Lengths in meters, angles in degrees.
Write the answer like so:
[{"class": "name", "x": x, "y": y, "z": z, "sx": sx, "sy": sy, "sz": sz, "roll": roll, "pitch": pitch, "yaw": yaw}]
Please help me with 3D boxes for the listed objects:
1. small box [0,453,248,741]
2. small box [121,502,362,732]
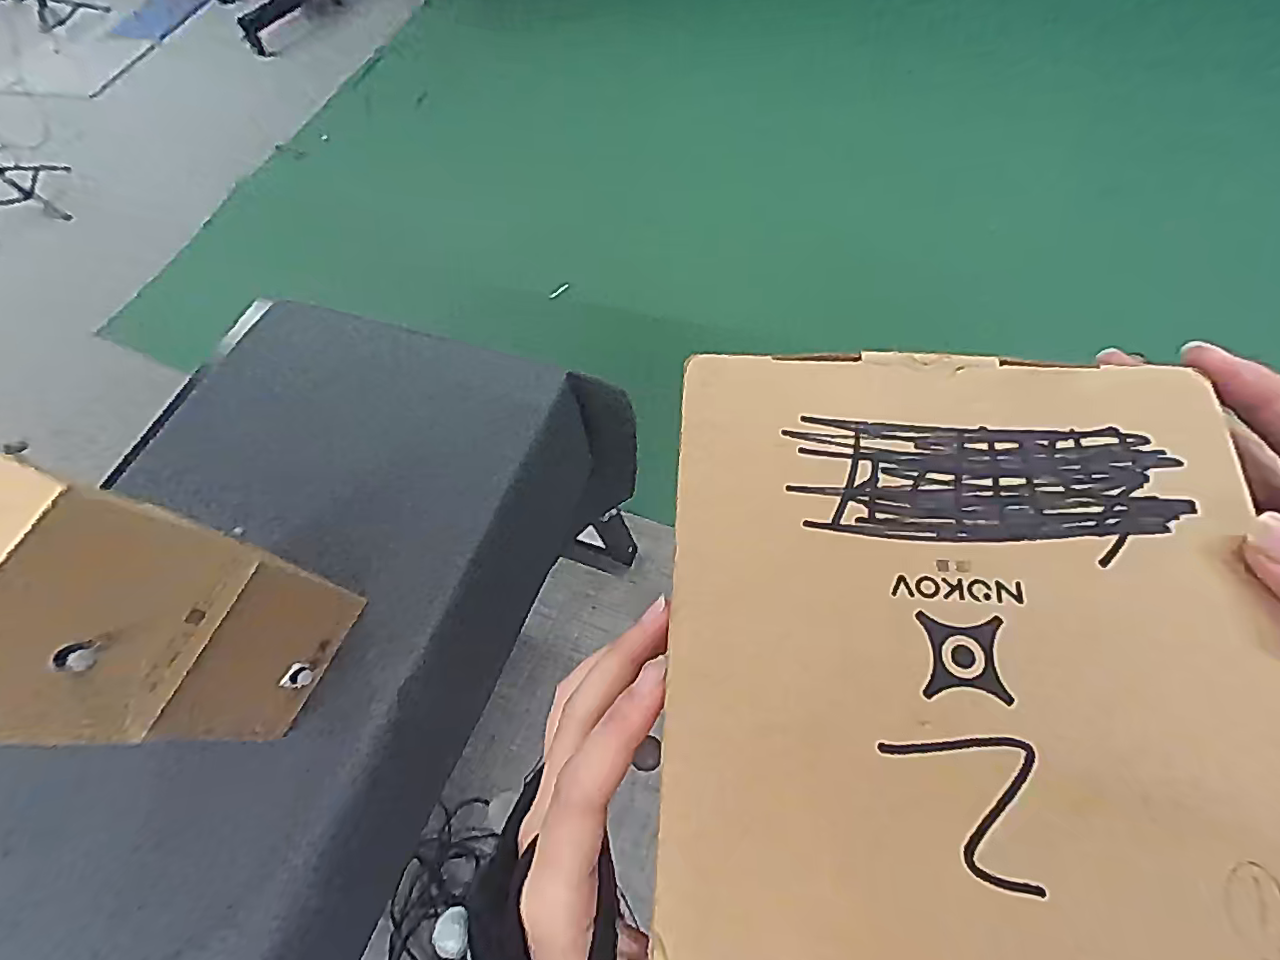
[{"class": "small box", "x": -0.463, "y": 0.084, "z": 0.415, "sx": 0.179, "sy": 0.176, "sz": 0.168, "roll": 16, "pitch": 69, "yaw": 18}, {"class": "small box", "x": -0.443, "y": 0.149, "z": 0.563, "sx": 0.179, "sy": 0.176, "sz": 0.168, "roll": 17, "pitch": 69, "yaw": 17}]
